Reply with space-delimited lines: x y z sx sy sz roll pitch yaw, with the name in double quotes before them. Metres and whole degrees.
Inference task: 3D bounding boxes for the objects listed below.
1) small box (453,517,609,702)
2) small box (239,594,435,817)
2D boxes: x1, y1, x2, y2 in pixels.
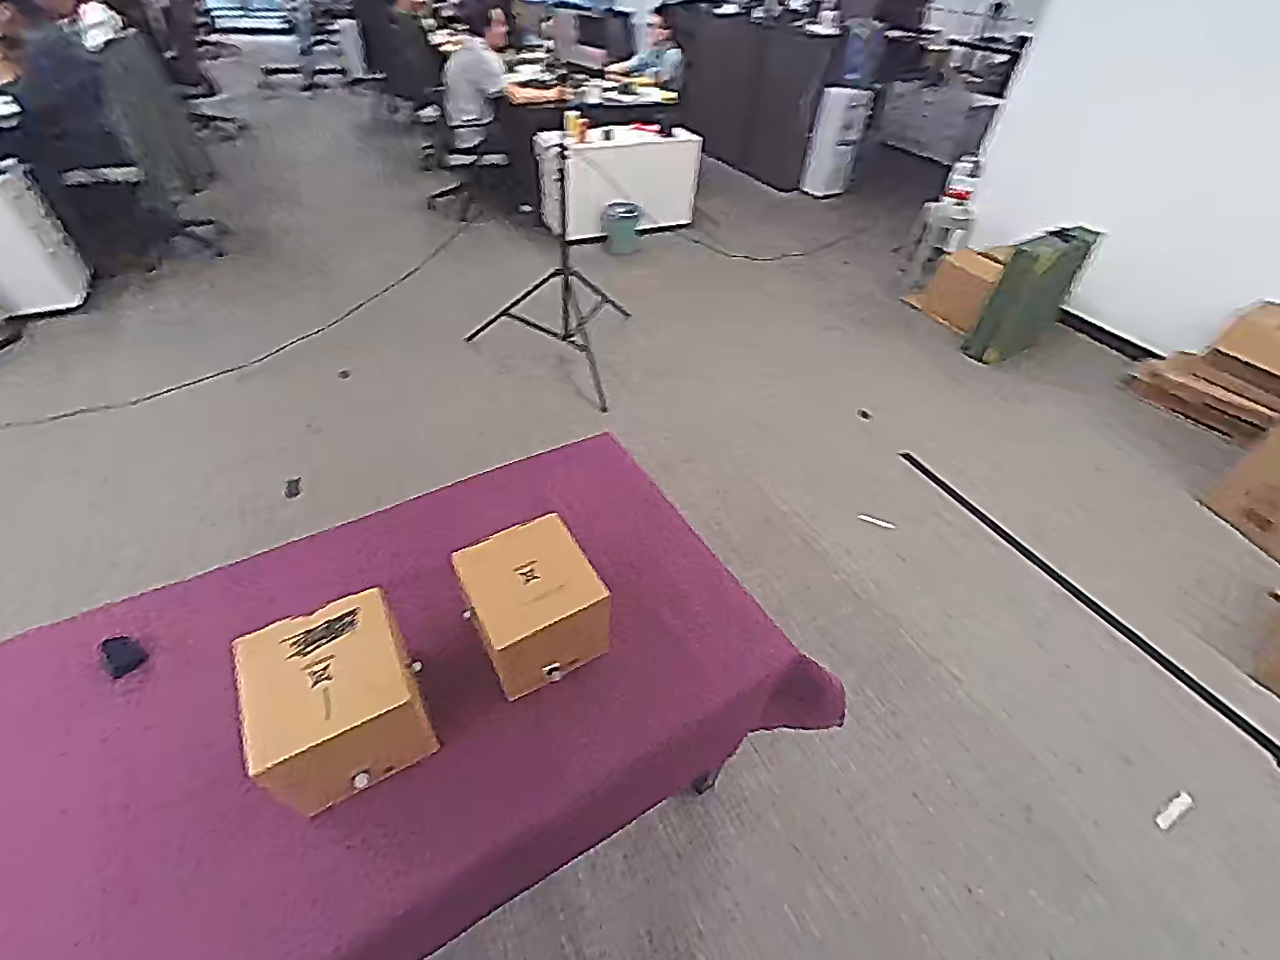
"small box" -0.161 0.193 0.811 0.168 0.176 0.179 -23 51 -25
"small box" -0.380 0.286 0.692 0.168 0.176 0.179 -21 50 -24
